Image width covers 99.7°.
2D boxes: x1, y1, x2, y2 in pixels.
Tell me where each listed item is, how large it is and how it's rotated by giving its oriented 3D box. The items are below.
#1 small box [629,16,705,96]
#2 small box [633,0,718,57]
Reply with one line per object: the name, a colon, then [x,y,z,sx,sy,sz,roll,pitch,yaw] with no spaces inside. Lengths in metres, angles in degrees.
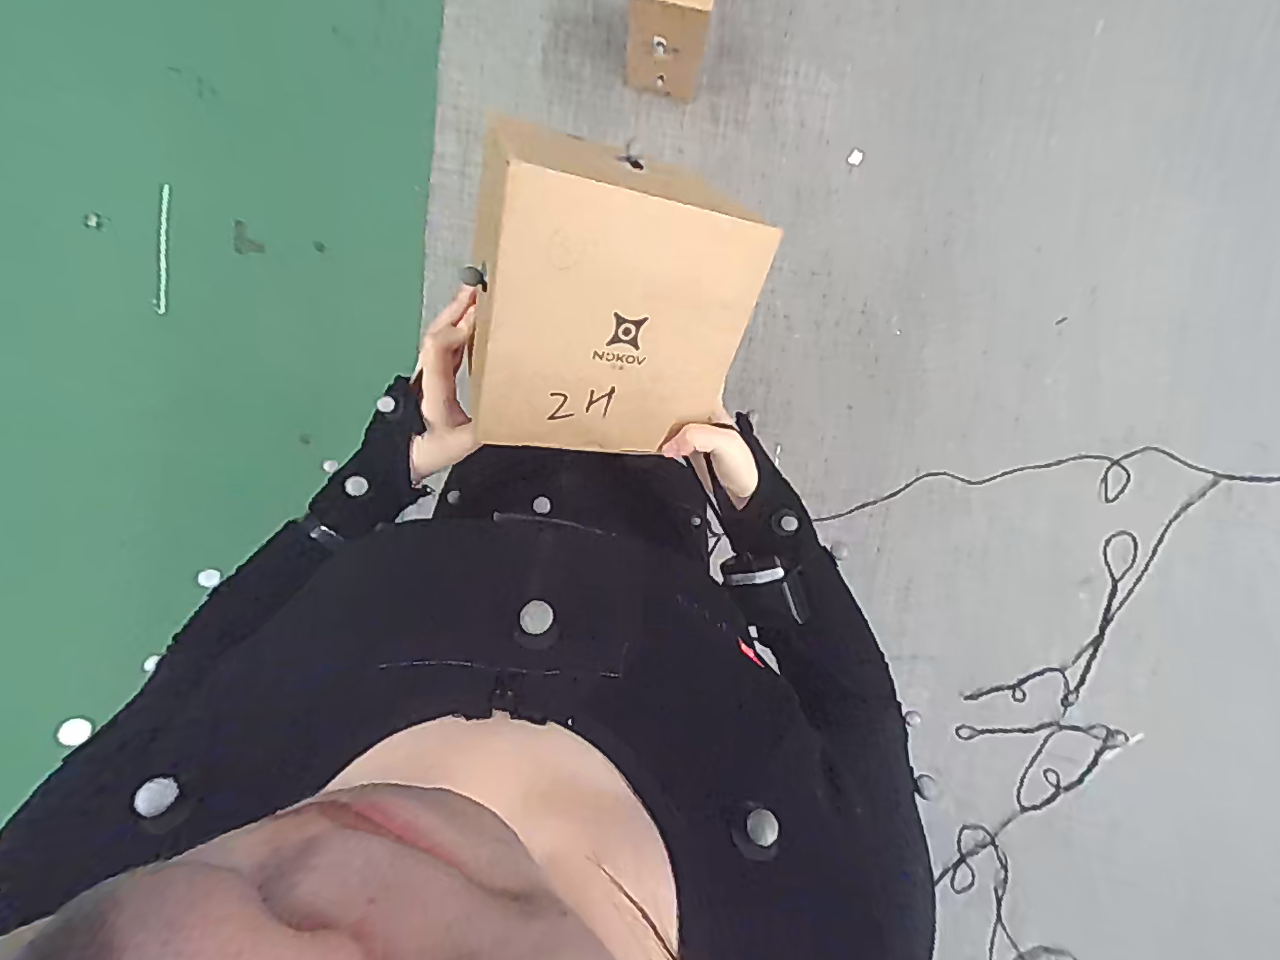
small box: [0.074,-1.024,1.233,0.168,0.176,0.179,13,100,-3]
small box: [0.079,-0.997,1.073,0.168,0.176,0.179,10,100,-1]
